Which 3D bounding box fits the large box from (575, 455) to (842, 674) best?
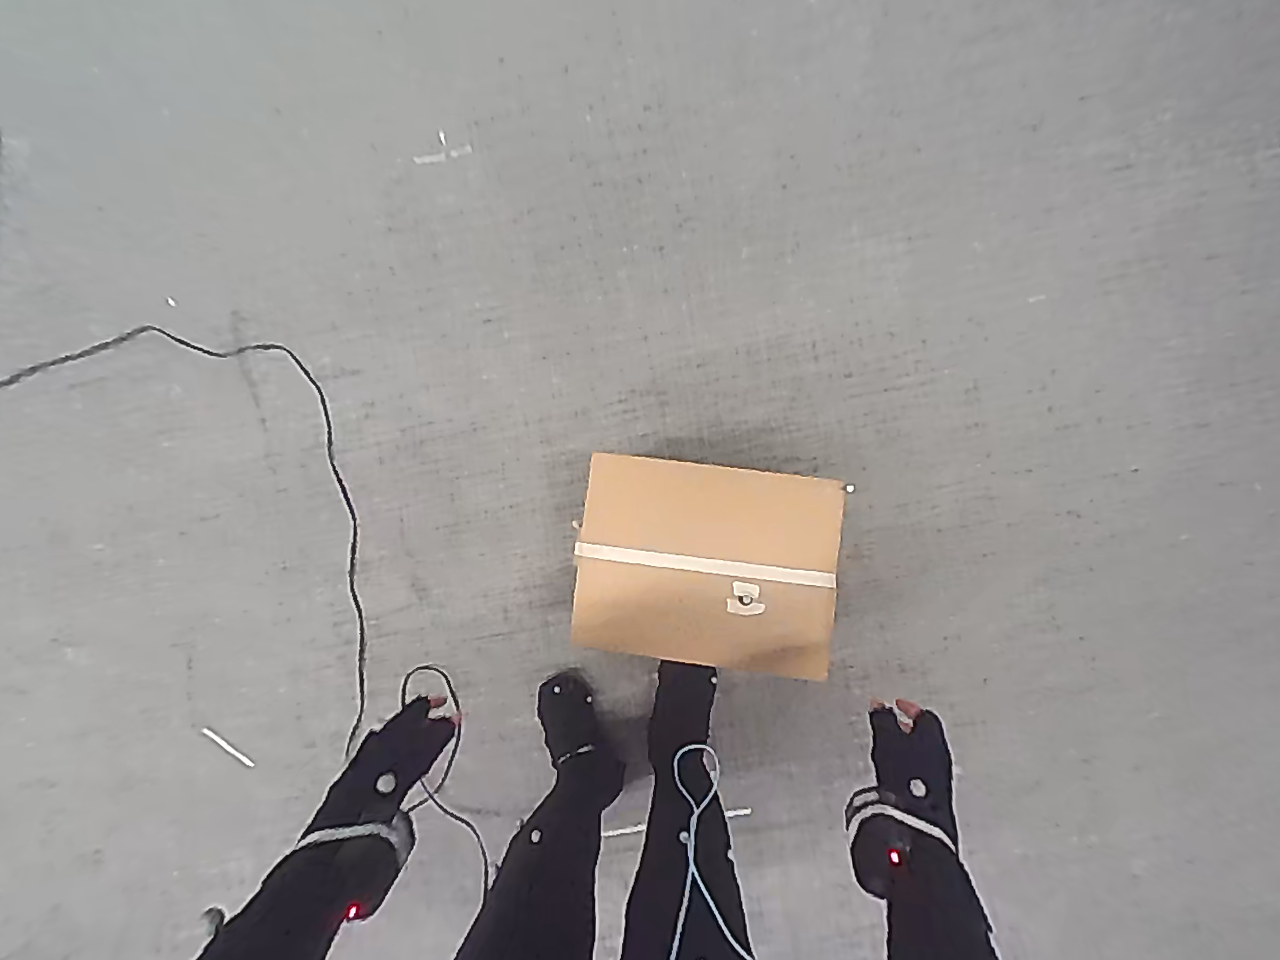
[{"bbox_3d":[0.113,0.140,1.004,0.408,0.320,0.320,7,88,3],"label":"large box"}]
